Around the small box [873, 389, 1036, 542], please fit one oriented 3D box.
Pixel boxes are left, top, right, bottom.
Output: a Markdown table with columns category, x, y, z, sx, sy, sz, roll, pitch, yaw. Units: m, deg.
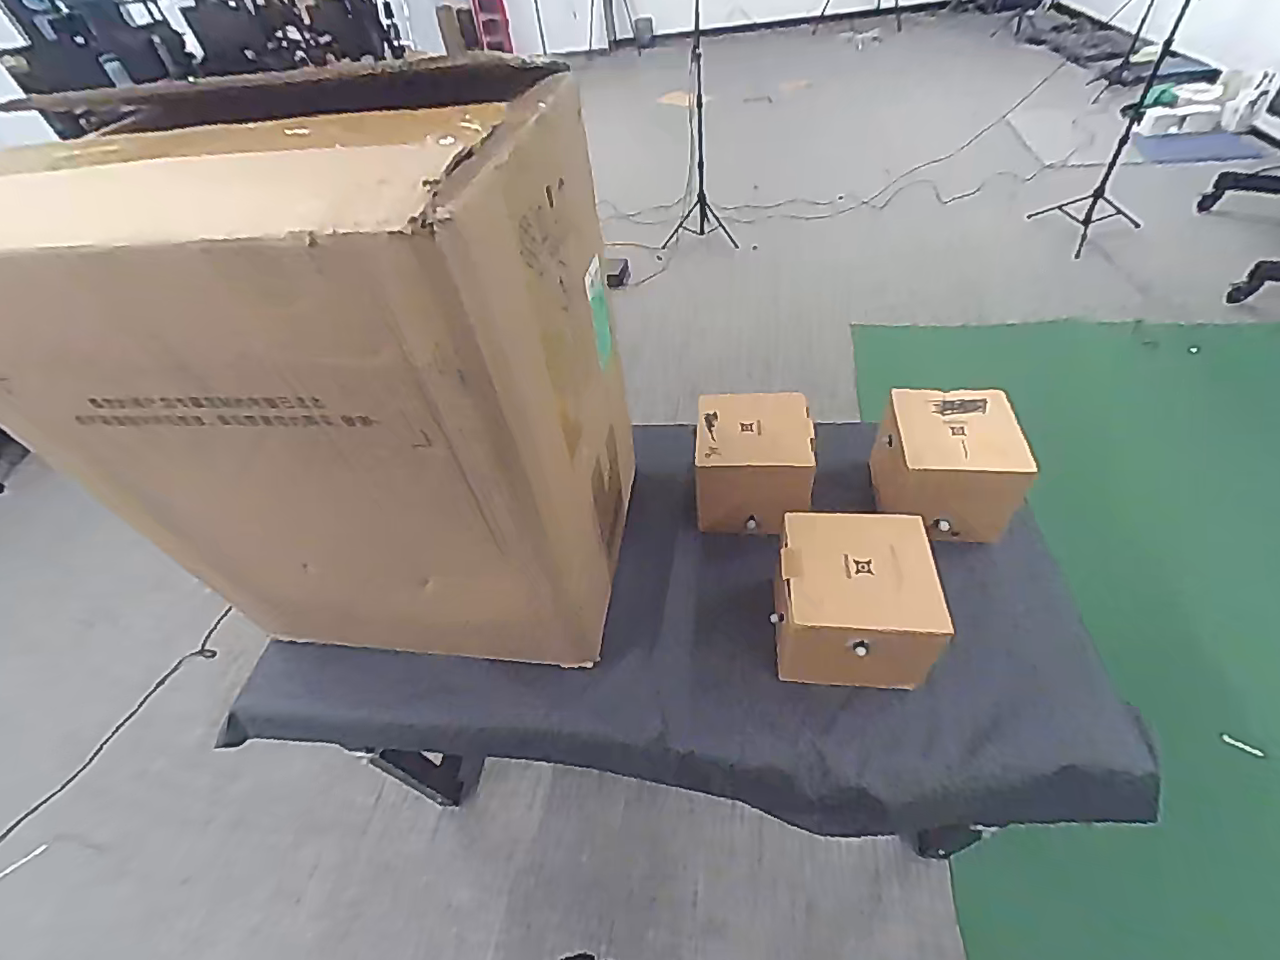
| category | x | y | z | sx | sy | sz | roll | pitch | yaw |
| --- | --- | --- | --- | --- | --- | --- | --- | --- | --- |
| small box | 0.480 | -0.025 | 0.861 | 0.168 | 0.176 | 0.179 | 2 | 49 | 11 |

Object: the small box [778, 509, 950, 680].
| category | x | y | z | sx | sy | sz | roll | pitch | yaw |
| --- | --- | --- | --- | --- | --- | --- | --- | --- | --- |
| small box | 0.281 | 0.156 | 0.728 | 0.179 | 0.176 | 0.168 | 1 | 49 | 9 |
